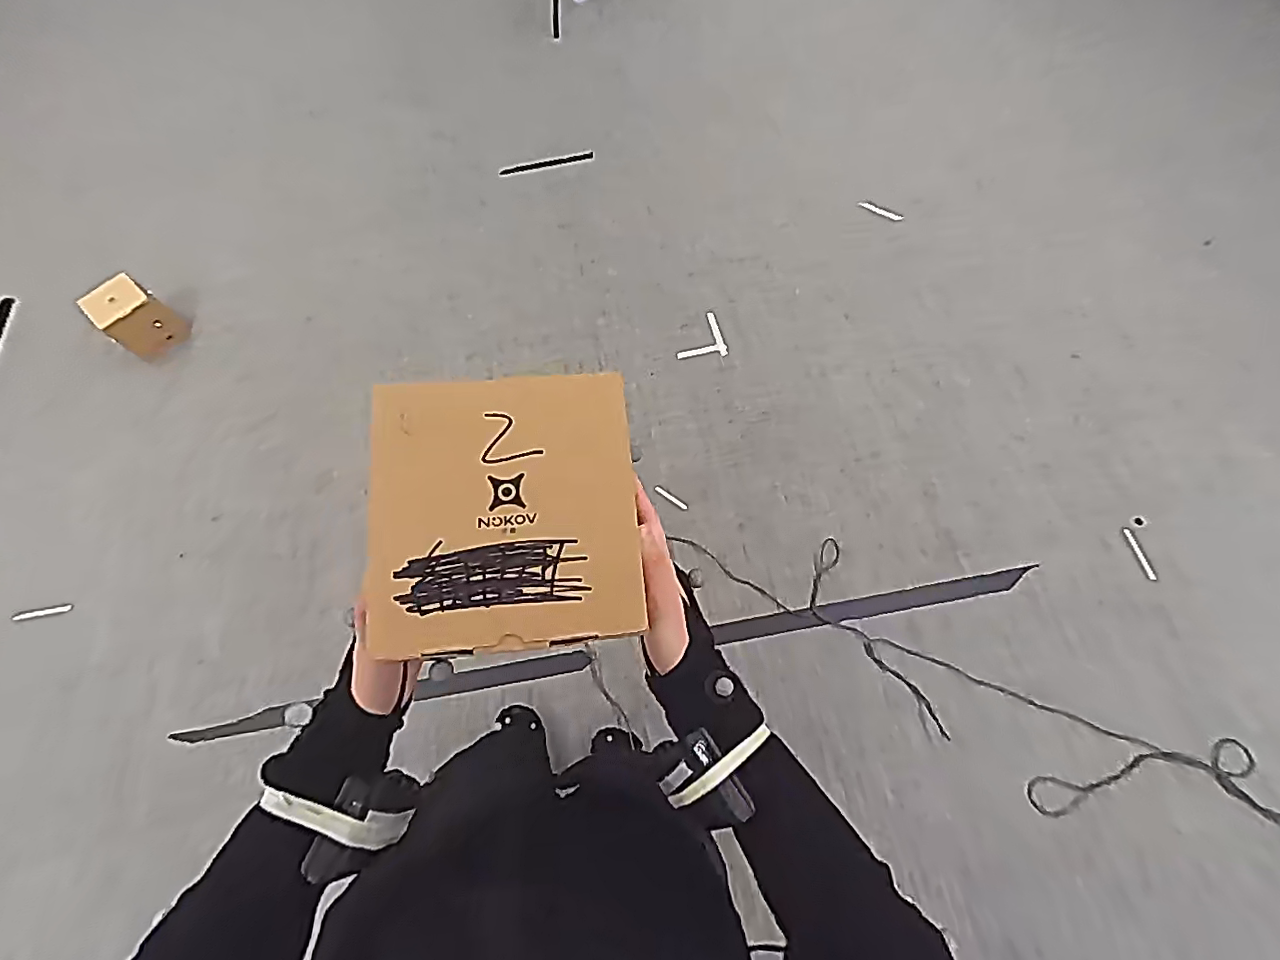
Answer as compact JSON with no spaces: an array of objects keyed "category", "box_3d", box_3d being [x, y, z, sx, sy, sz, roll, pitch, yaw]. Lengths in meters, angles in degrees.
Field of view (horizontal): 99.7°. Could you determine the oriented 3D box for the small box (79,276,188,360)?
[{"category":"small box","box_3d":[-1.653,-0.522,1.776,0.179,0.176,0.168,38,73,18]}]
